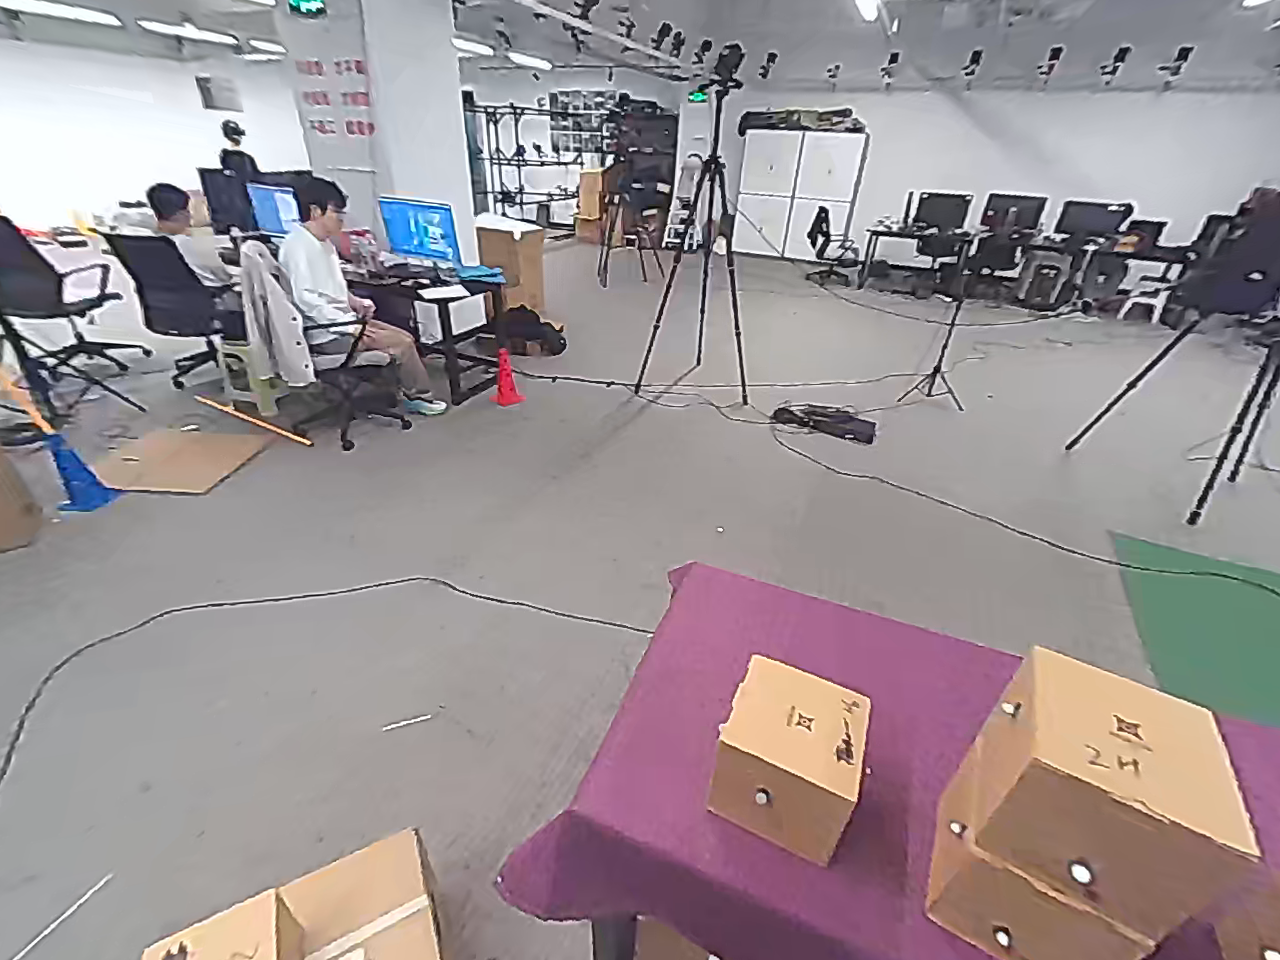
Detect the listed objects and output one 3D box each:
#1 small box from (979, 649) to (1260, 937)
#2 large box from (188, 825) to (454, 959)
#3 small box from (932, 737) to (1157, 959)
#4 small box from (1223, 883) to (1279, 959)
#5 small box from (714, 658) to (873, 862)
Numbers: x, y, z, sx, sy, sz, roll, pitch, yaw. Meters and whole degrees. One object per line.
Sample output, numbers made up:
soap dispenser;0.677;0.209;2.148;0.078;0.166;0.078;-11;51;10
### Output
small box;0.494;0.330;0.590;0.168;0.176;0.179;20;36;27
large box;-0.578;0.980;1.034;0.408;0.320;0.320;-14;36;-26
small box;0.483;0.473;0.671;0.168;0.176;0.179;19;36;26
small box;0.766;0.559;0.546;0.168;0.176;0.179;16;33;22
small box;0.215;0.397;0.774;0.179;0.176;0.168;16;35;22
